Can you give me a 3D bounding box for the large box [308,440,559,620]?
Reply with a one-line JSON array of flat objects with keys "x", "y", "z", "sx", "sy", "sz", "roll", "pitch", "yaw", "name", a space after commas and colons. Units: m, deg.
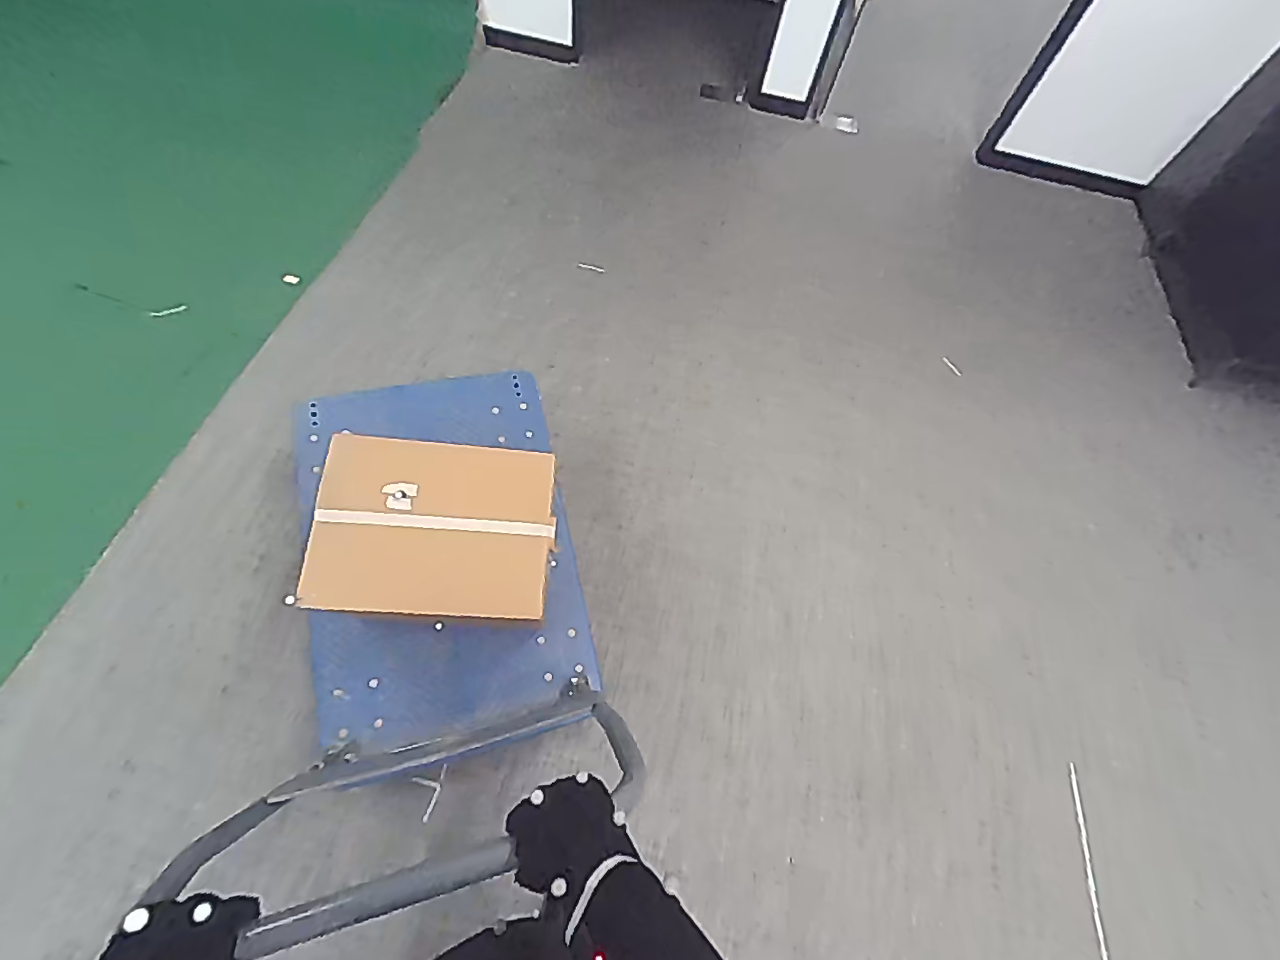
[{"x": -0.374, "y": 0.124, "z": 1.108, "sx": 0.408, "sy": 0.320, "sz": 0.320, "roll": 4, "pitch": 72, "yaw": -7, "name": "large box"}]
